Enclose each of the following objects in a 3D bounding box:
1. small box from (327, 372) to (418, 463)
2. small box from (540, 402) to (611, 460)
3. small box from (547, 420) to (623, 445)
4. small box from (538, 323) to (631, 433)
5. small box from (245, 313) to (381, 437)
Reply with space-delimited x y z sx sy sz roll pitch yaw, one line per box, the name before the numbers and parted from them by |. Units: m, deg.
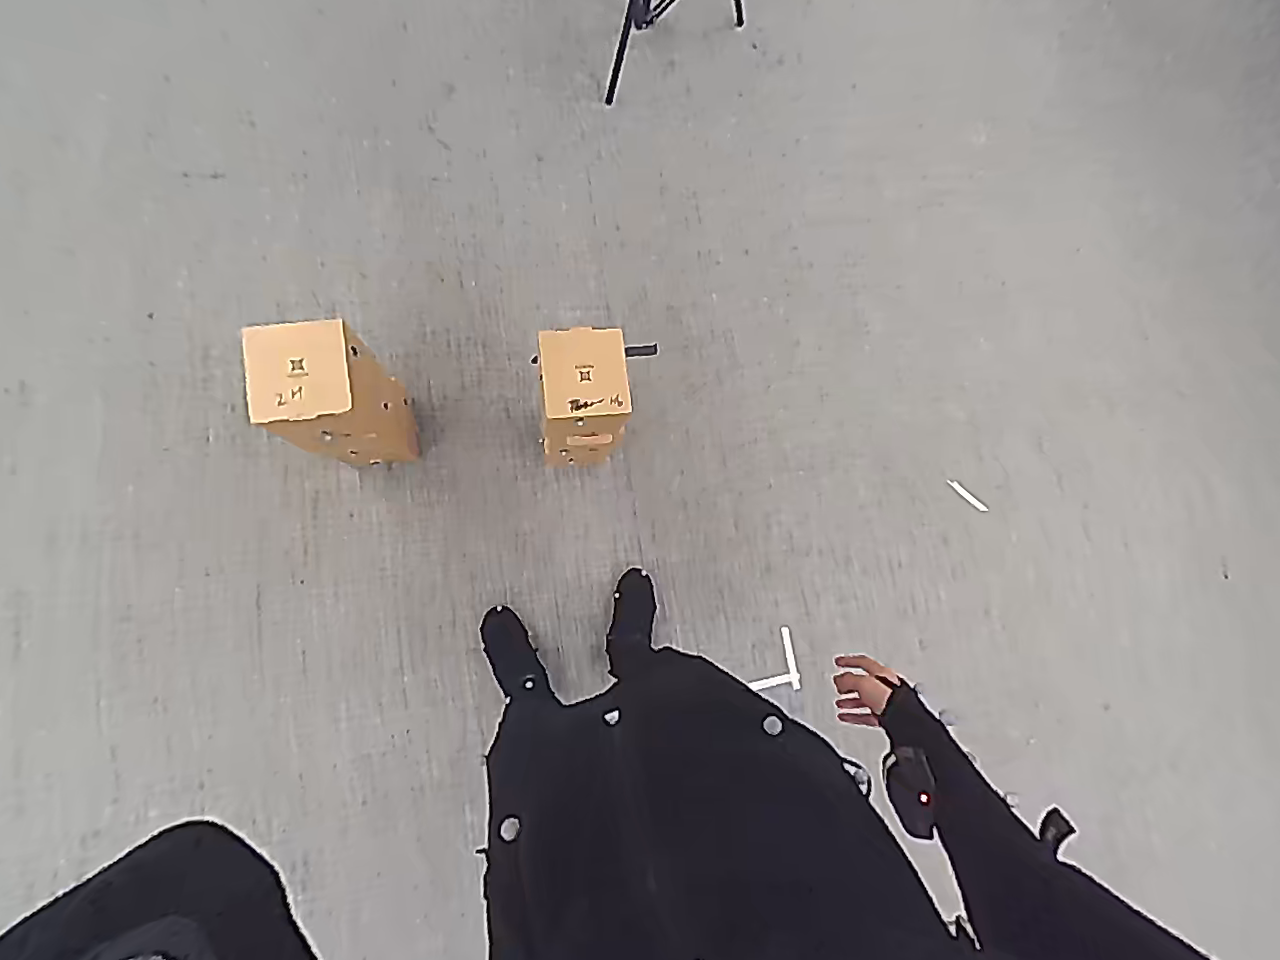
small box | -0.660 -0.150 1.339 0.168 0.176 0.179 -9 83 -10
small box | -0.175 -0.156 1.434 0.168 0.176 0.179 -4 83 -12
small box | -0.138 -0.181 1.276 0.168 0.176 0.179 -5 82 -12
small box | -0.121 -0.205 1.113 0.168 0.176 0.179 -5 82 -12
small box | -0.606 -0.192 1.020 0.168 0.176 0.179 -9 84 -10
